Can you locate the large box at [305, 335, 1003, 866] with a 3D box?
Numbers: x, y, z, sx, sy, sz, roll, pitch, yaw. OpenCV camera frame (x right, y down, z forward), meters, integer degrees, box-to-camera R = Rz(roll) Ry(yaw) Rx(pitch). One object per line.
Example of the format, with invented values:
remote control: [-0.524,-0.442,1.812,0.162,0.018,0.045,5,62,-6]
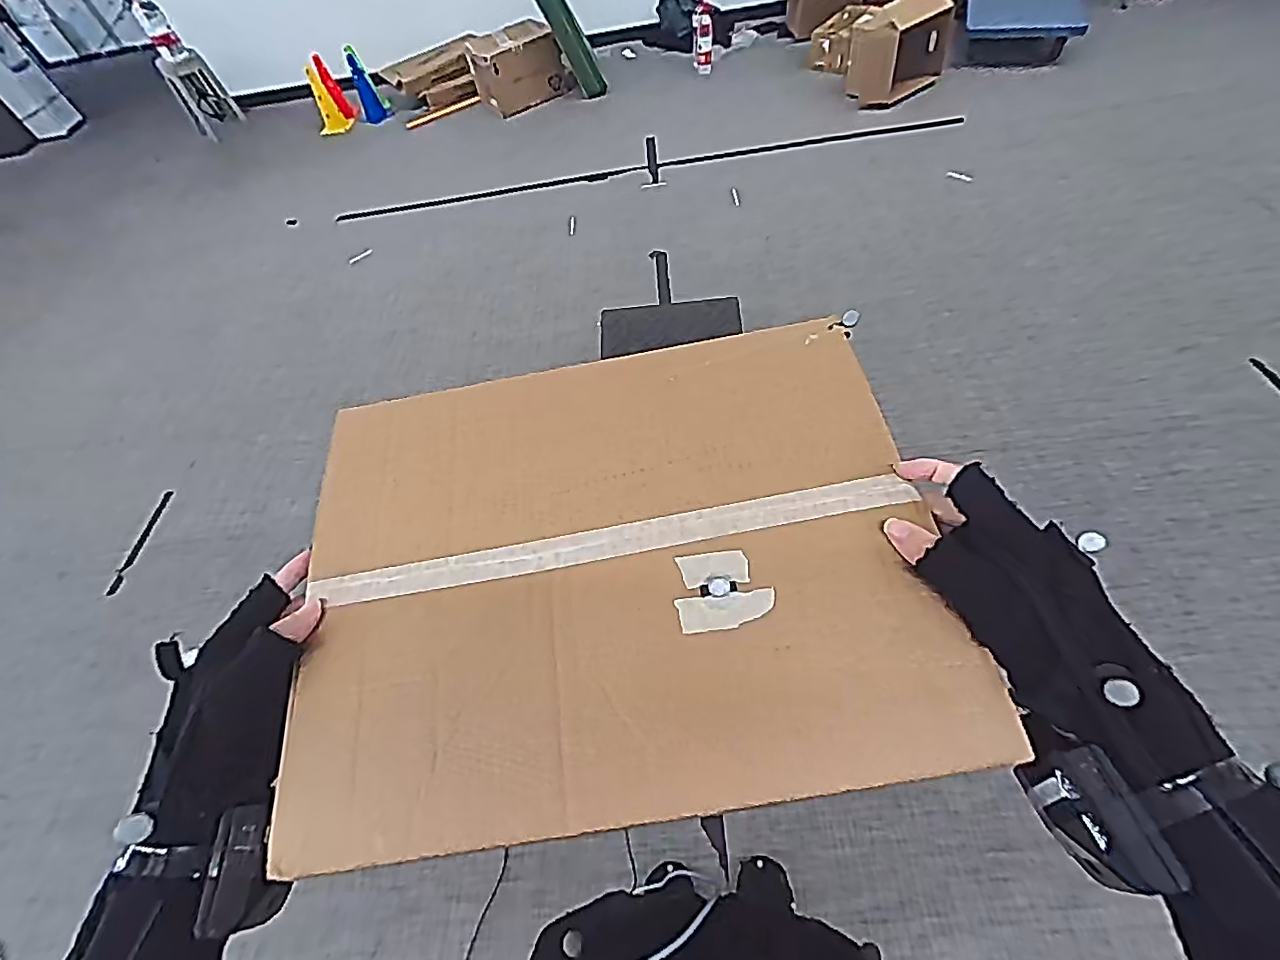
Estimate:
large box: [-0.001,0.119,0.499,0.408,0.320,0.320,-10,61,1]
